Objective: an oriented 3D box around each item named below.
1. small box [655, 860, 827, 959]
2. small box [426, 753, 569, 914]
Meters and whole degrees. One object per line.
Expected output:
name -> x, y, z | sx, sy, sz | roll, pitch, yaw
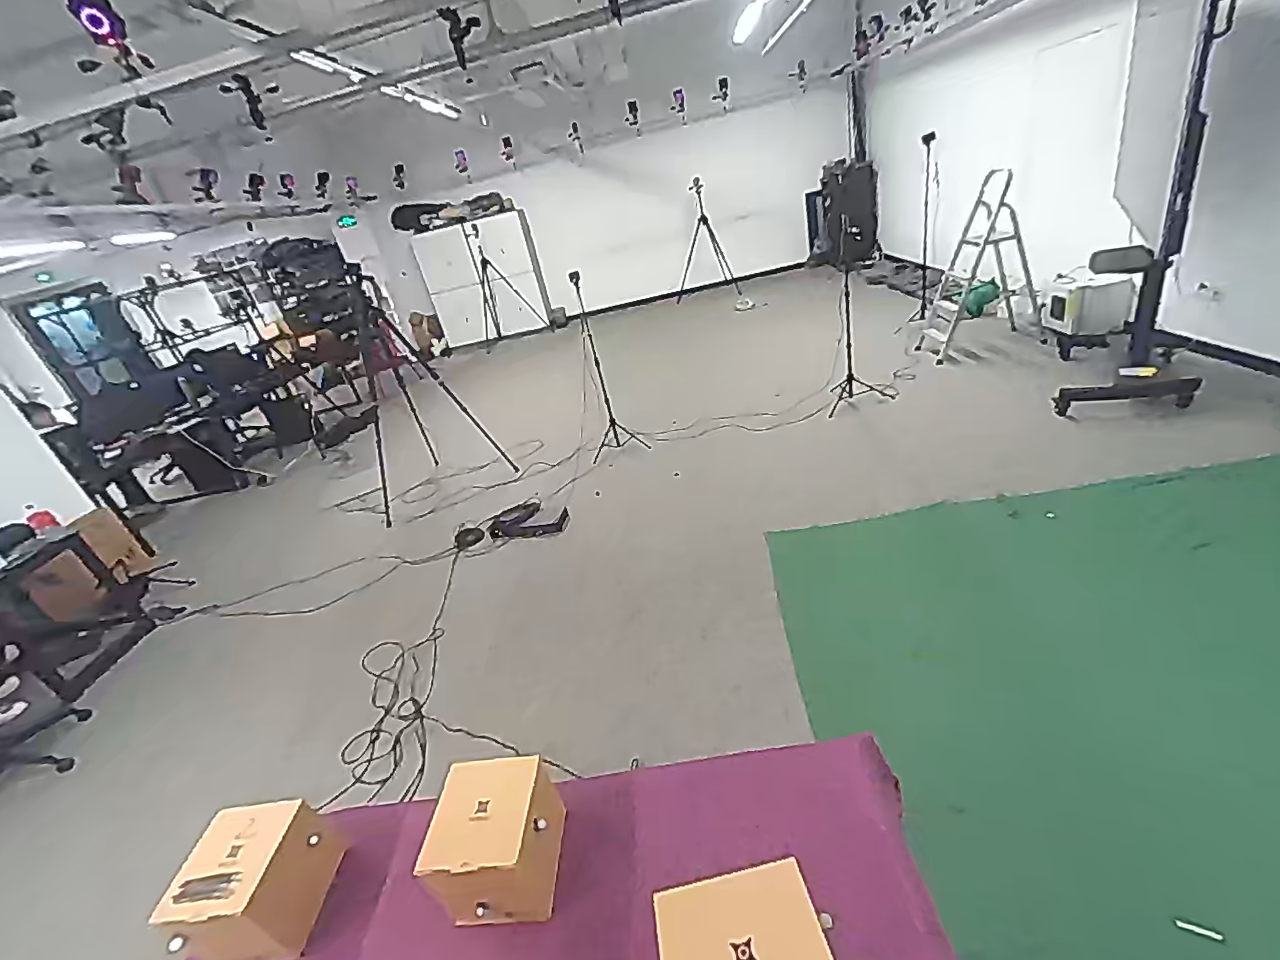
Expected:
small box -> 0.118, 0.548, 0.555 | 0.168, 0.176, 0.179 | -15, 18, 1
small box -> -0.229, 0.605, 0.929 | 0.168, 0.176, 0.179 | -10, 30, 9
